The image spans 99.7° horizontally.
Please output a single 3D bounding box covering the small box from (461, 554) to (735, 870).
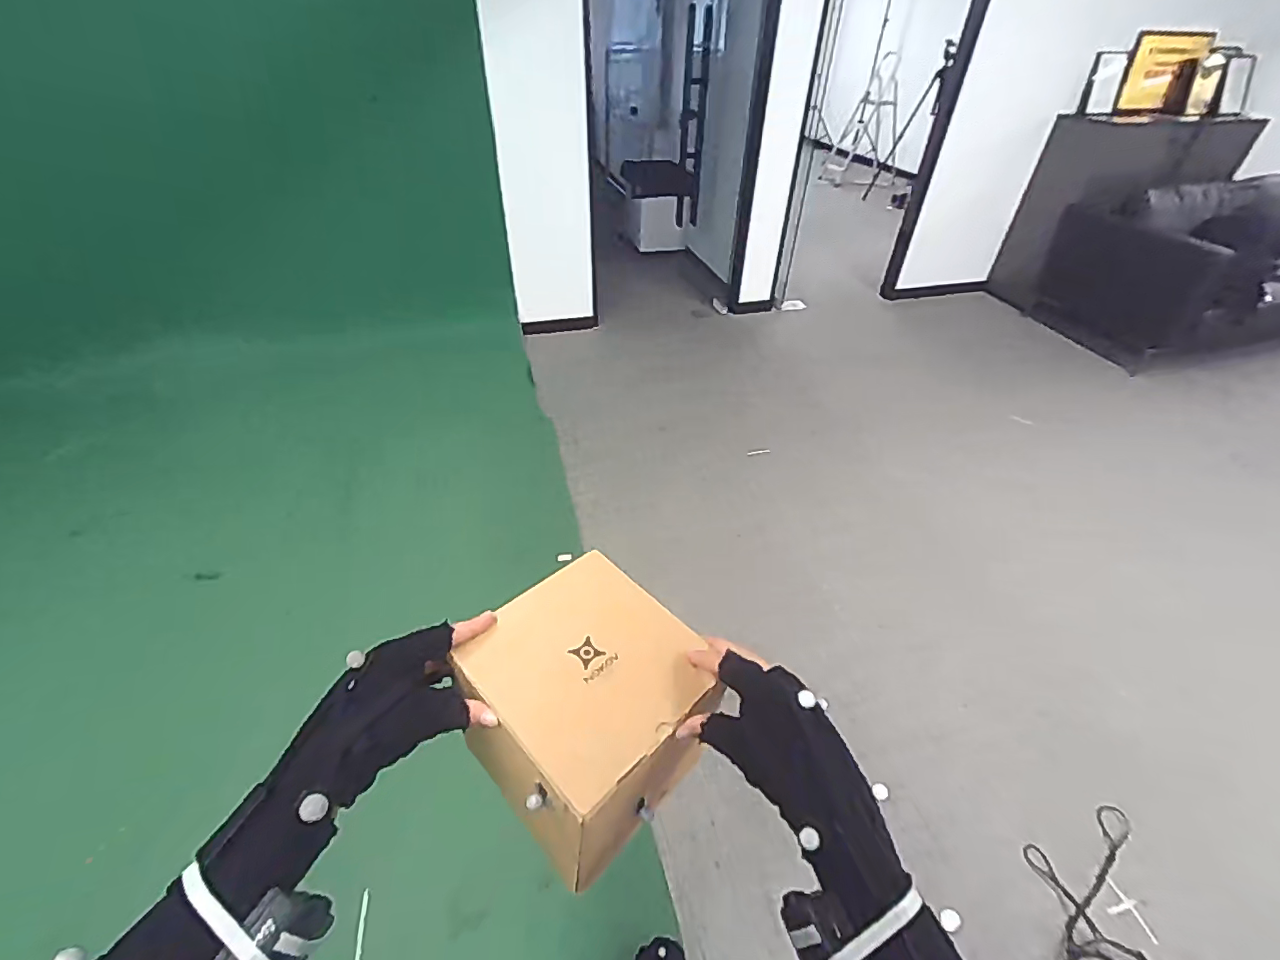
[{"bbox_3d":[-0.044,0.209,0.502,0.179,0.176,0.168,36,47,30],"label":"small box"}]
